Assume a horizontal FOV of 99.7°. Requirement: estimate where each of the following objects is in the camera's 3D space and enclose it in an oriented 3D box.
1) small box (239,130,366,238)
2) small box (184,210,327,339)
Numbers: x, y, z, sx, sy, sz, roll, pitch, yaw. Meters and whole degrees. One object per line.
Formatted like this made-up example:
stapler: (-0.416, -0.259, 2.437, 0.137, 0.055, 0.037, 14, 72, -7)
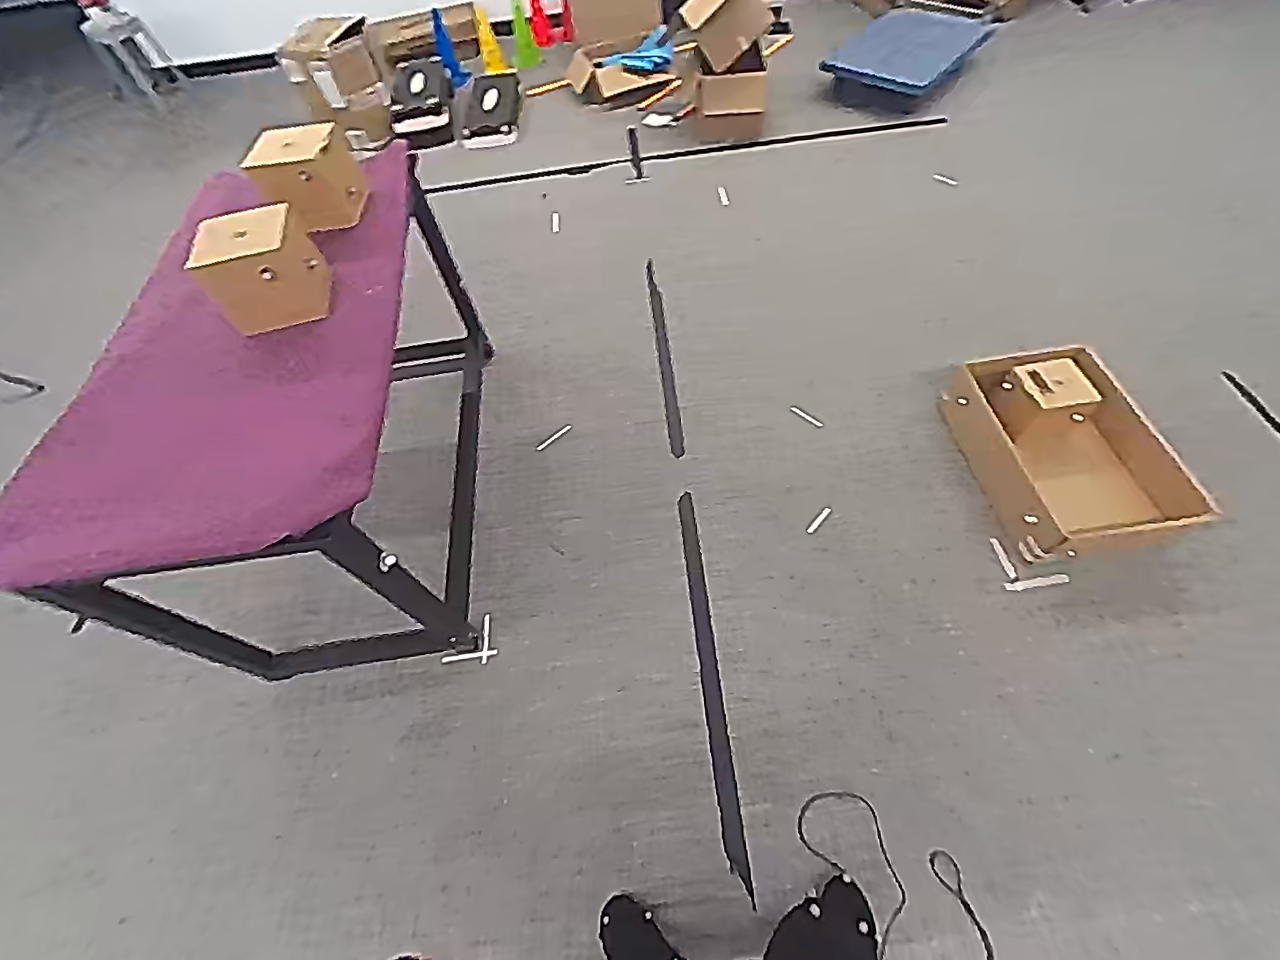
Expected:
small box: (-0.807, -0.712, 1.313, 0.179, 0.176, 0.168, -5, 58, 4)
small box: (-0.783, -0.423, 1.125, 0.179, 0.176, 0.168, -16, 57, -4)
